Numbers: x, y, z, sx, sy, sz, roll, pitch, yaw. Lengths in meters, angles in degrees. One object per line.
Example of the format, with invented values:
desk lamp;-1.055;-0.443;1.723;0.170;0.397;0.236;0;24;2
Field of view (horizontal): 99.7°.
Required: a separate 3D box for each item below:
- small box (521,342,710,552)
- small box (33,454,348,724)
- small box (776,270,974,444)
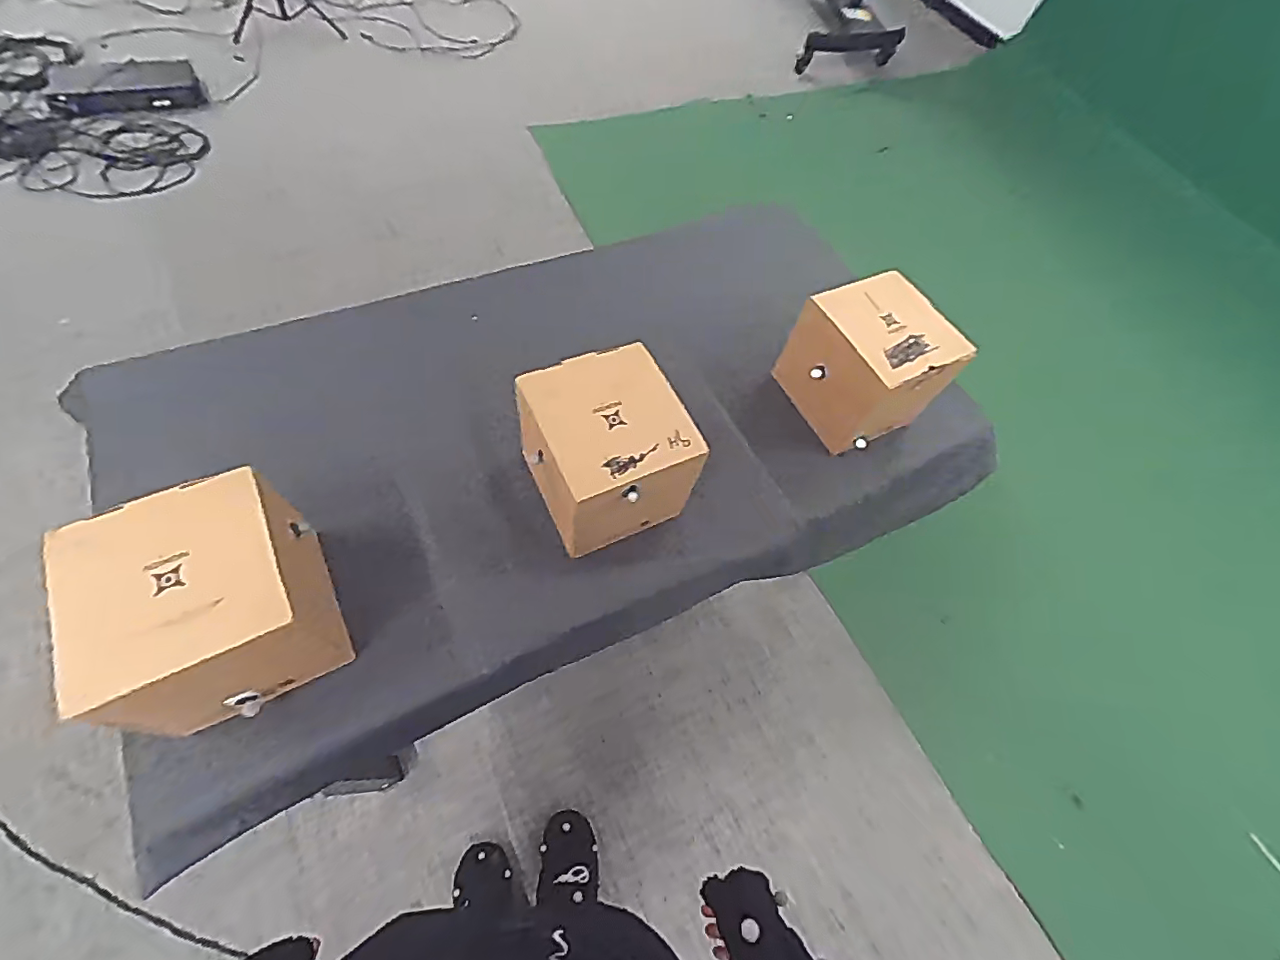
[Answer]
small box;-0.040;-0.038;0.680;0.168;0.176;0.179;-21;66;-18
small box;-0.411;0.110;0.519;0.168;0.176;0.179;-22;66;-17
small box;0.336;-0.175;0.810;0.168;0.176;0.179;-21;66;-18
